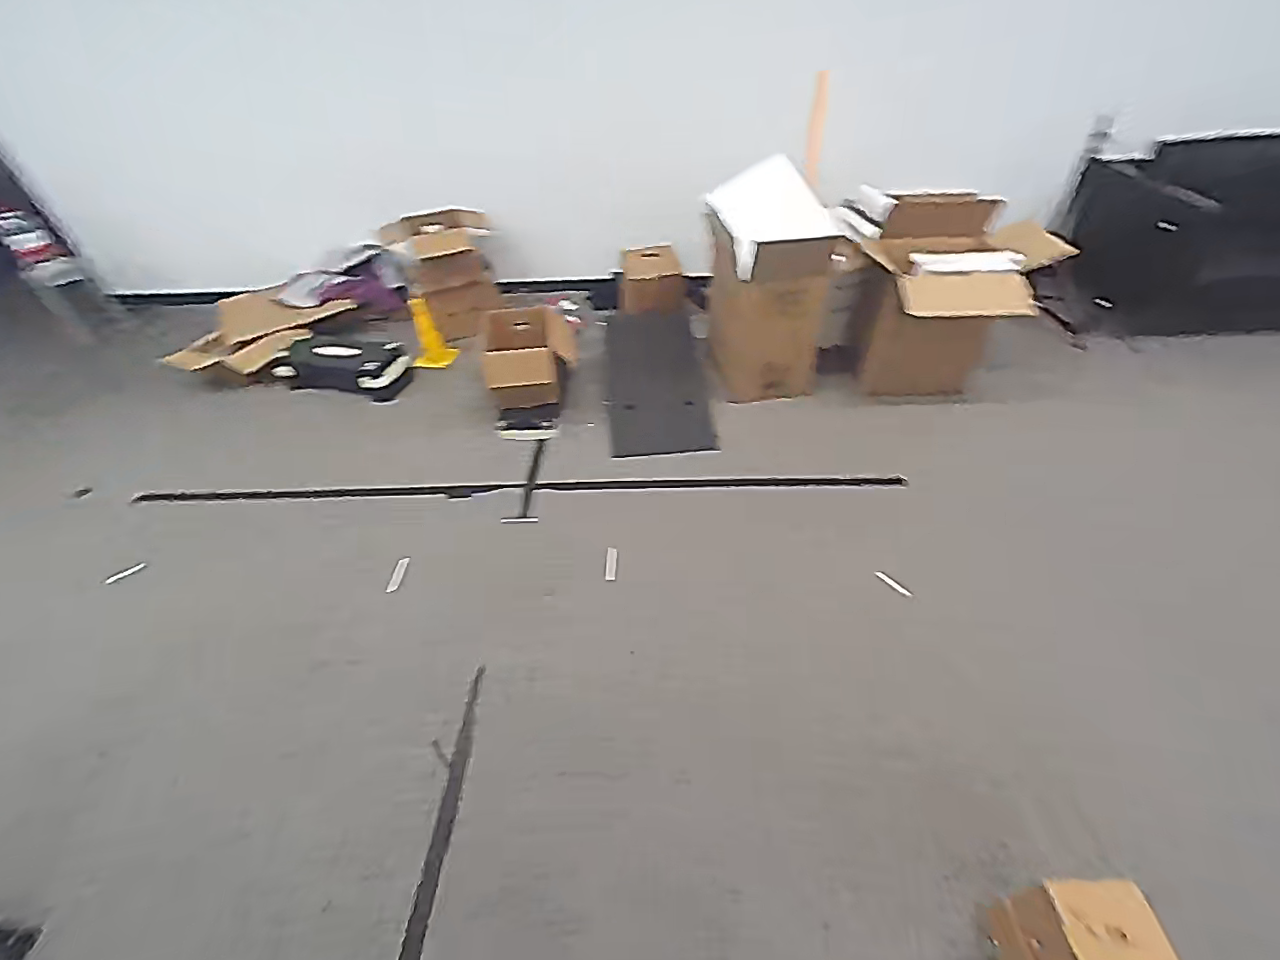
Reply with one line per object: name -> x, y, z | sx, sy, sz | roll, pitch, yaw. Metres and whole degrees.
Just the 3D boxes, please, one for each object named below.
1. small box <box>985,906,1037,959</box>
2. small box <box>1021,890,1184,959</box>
small box -> 0.872, 1.014, 1.131 | 0.179, 0.176, 0.168 | 0, 42, 2
small box -> 0.875, 0.894, 1.019 | 0.179, 0.176, 0.168 | -1, 42, 3
